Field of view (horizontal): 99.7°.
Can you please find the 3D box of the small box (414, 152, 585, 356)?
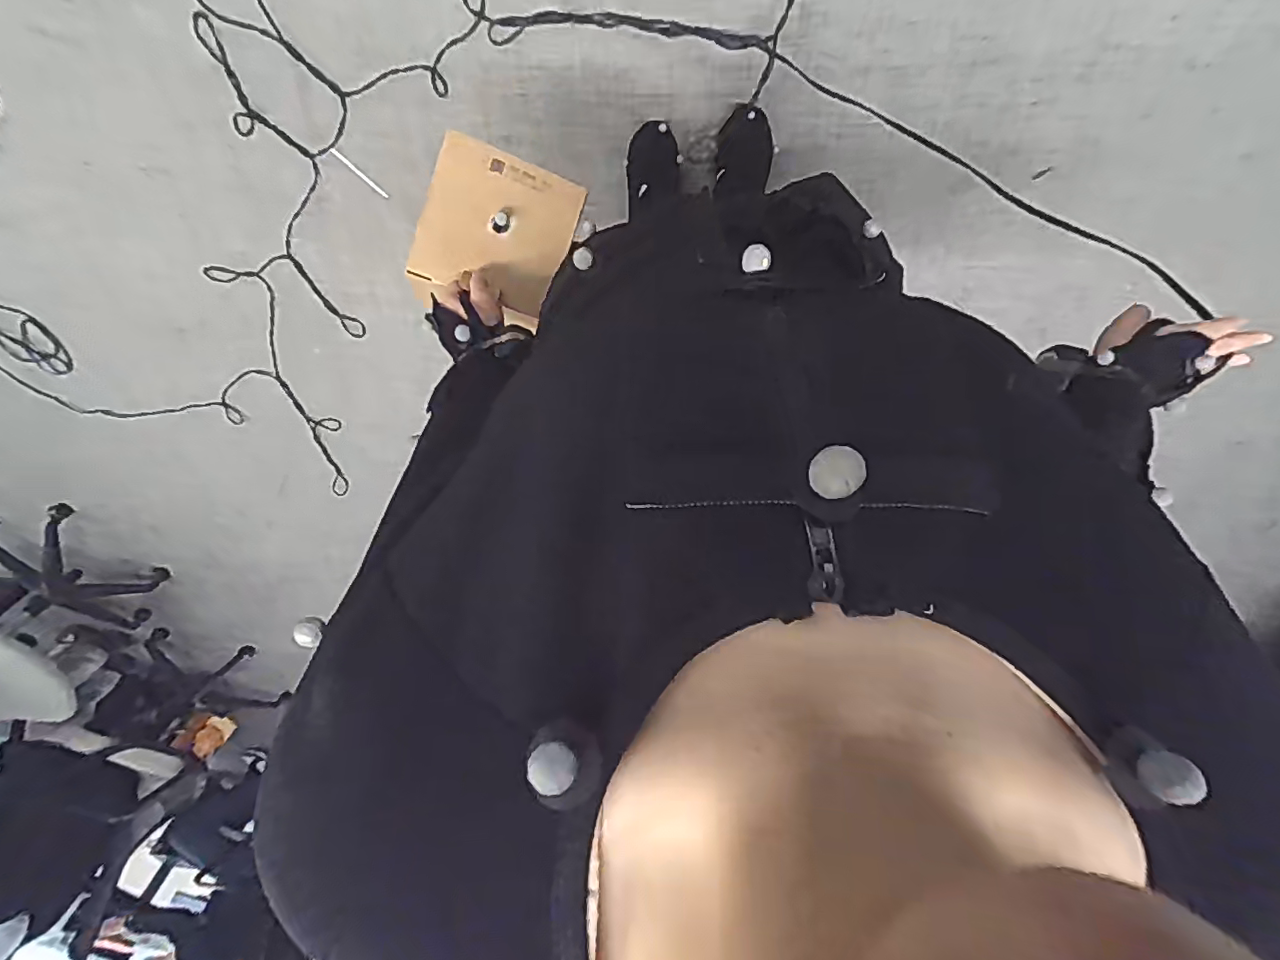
[{"bbox_3d":[-0.180,-0.283,0.708,0.168,0.179,0.176,17,88,-16],"label":"small box"}]
